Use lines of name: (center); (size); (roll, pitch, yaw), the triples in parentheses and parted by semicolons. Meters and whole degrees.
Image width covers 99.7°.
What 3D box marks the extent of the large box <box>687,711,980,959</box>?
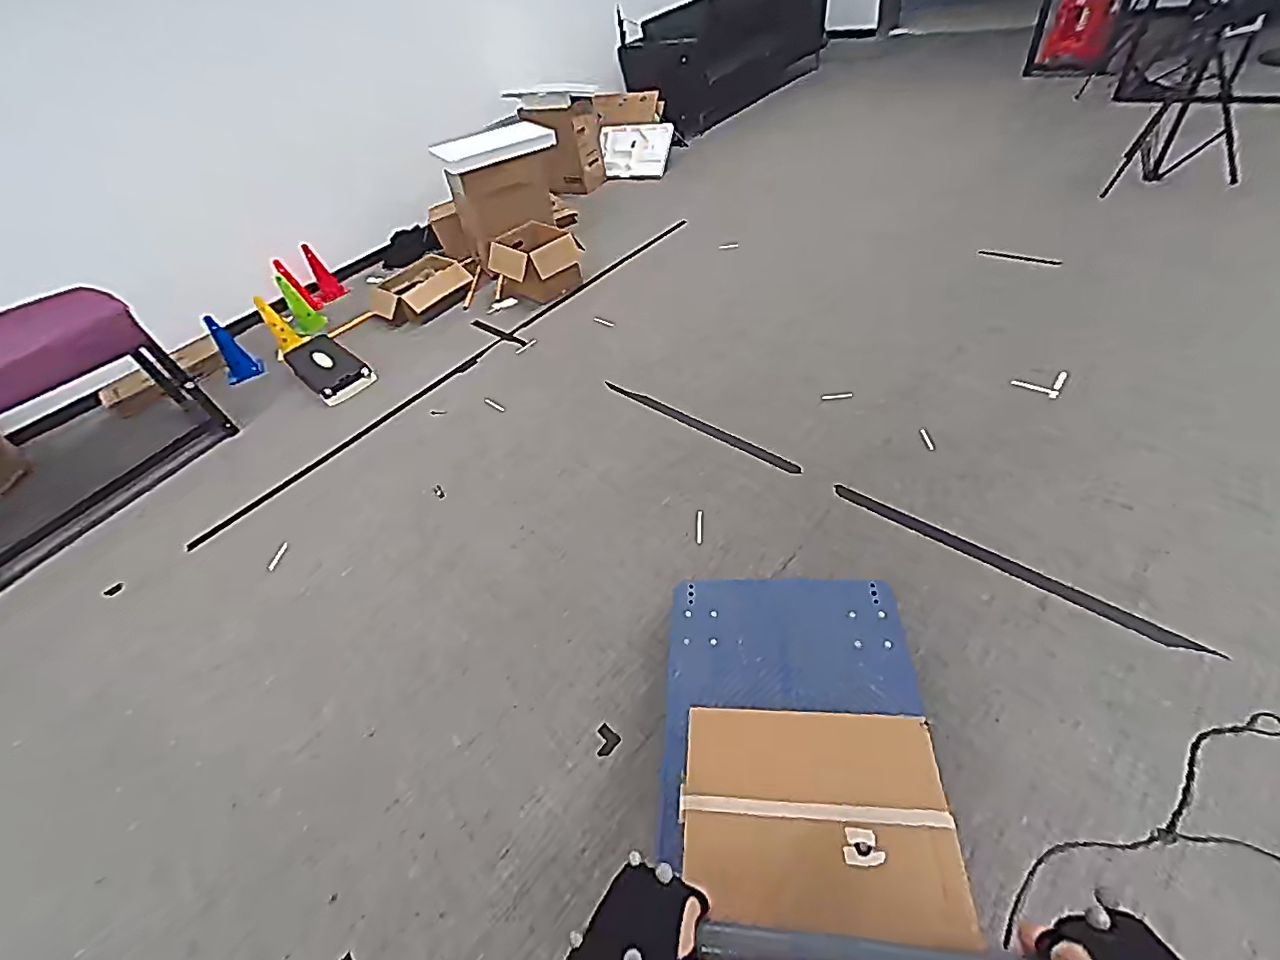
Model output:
large box: (0.295, 0.631, 0.960); (0.408, 0.320, 0.320); (-2, 46, 10)
